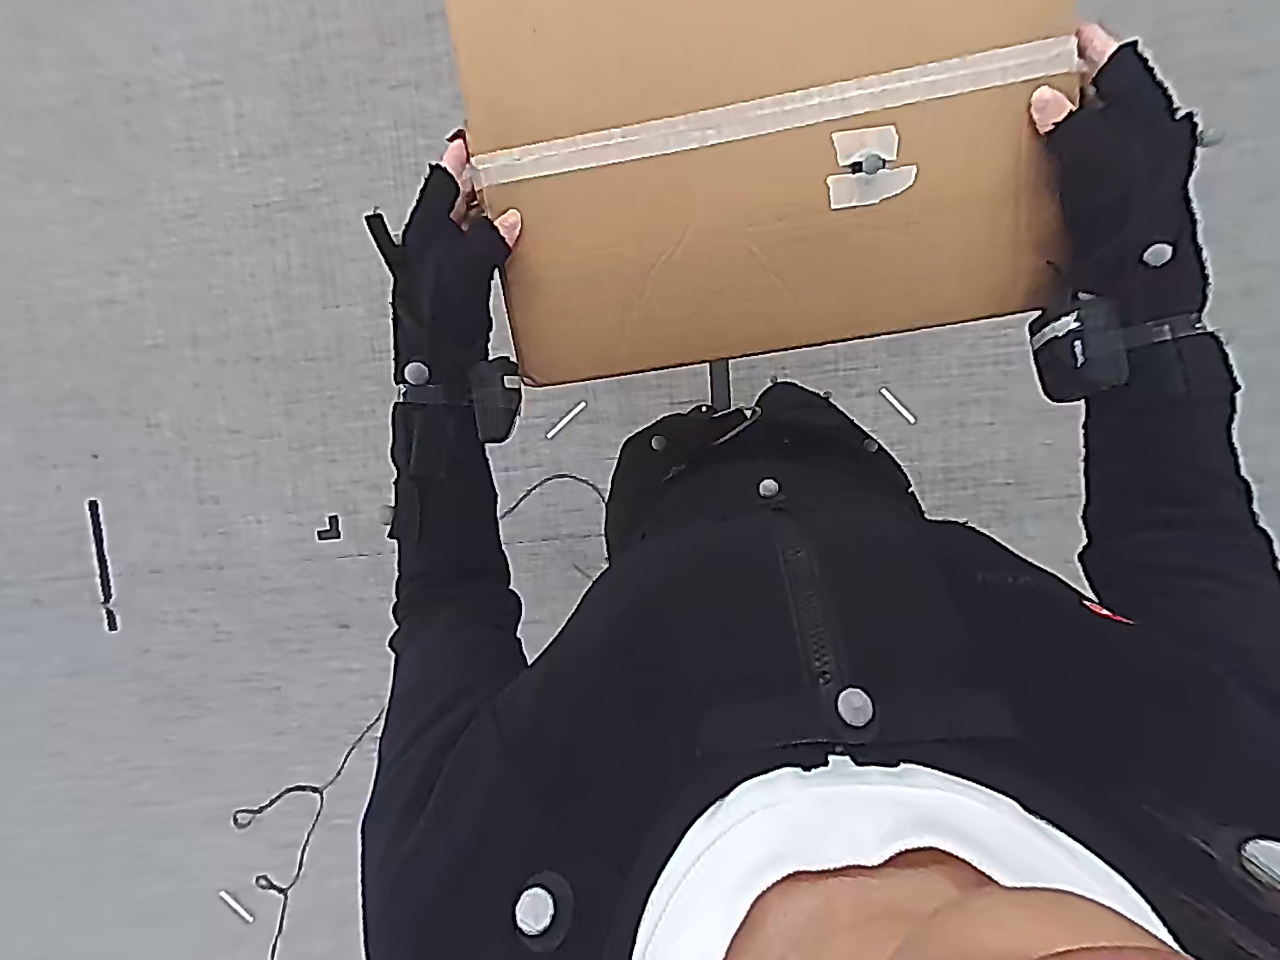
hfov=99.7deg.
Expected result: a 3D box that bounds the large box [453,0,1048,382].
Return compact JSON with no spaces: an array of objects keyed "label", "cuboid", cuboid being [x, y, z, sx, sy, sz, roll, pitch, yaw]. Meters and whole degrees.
[{"label":"large box","cuboid":[0.089,-0.288,0.533,0.408,0.320,0.320,-8,103,5]}]
